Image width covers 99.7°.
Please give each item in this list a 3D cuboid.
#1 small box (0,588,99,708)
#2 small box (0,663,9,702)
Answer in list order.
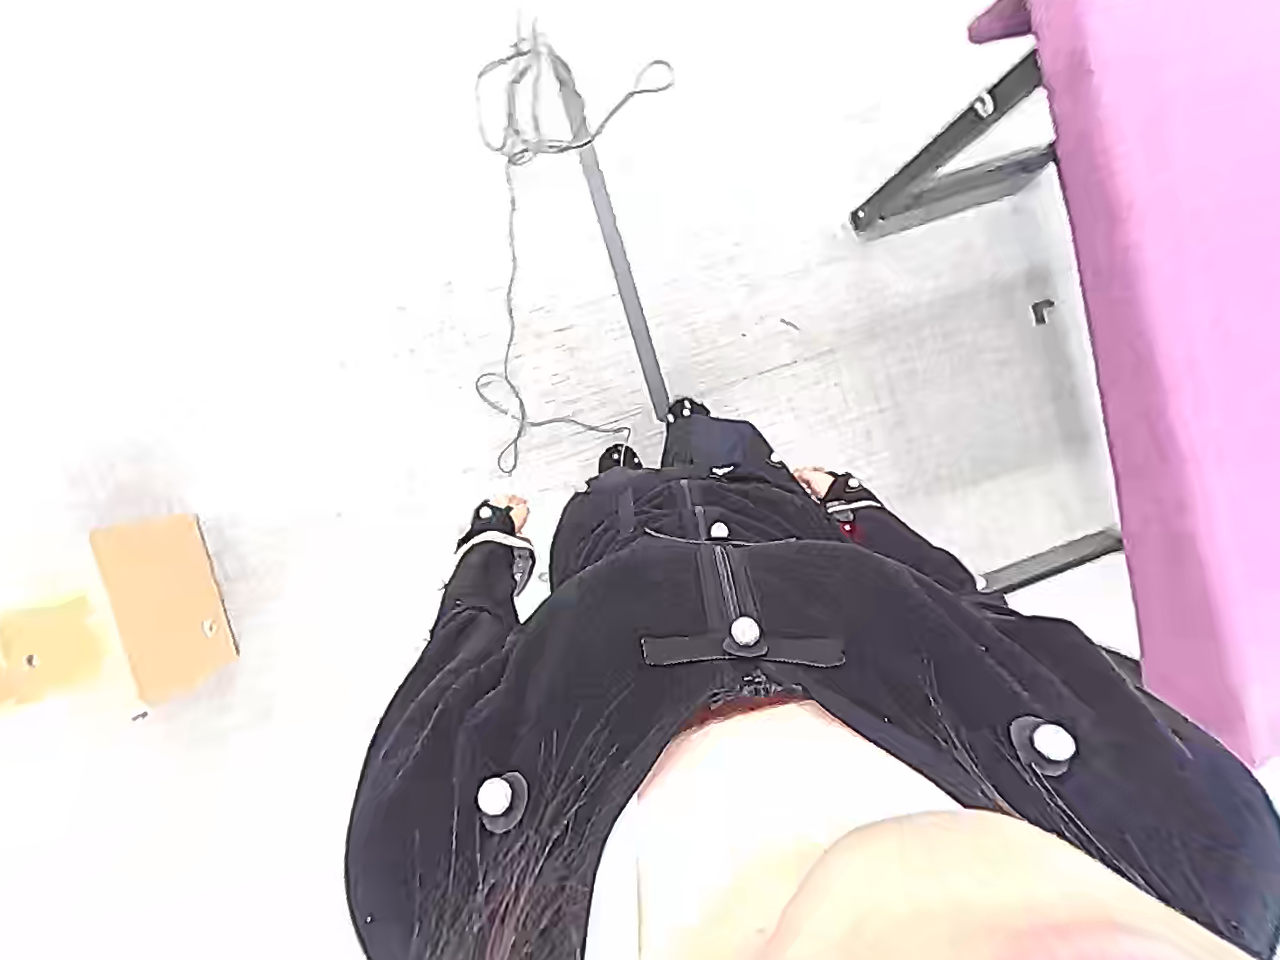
[{"bbox_3d":[-1.199,0.322,1.031,0.168,0.176,0.179,-10,94,-4],"label":"small box"},{"bbox_3d":[-1.200,0.342,0.870,0.179,0.176,0.168,-25,95,-1],"label":"small box"}]
